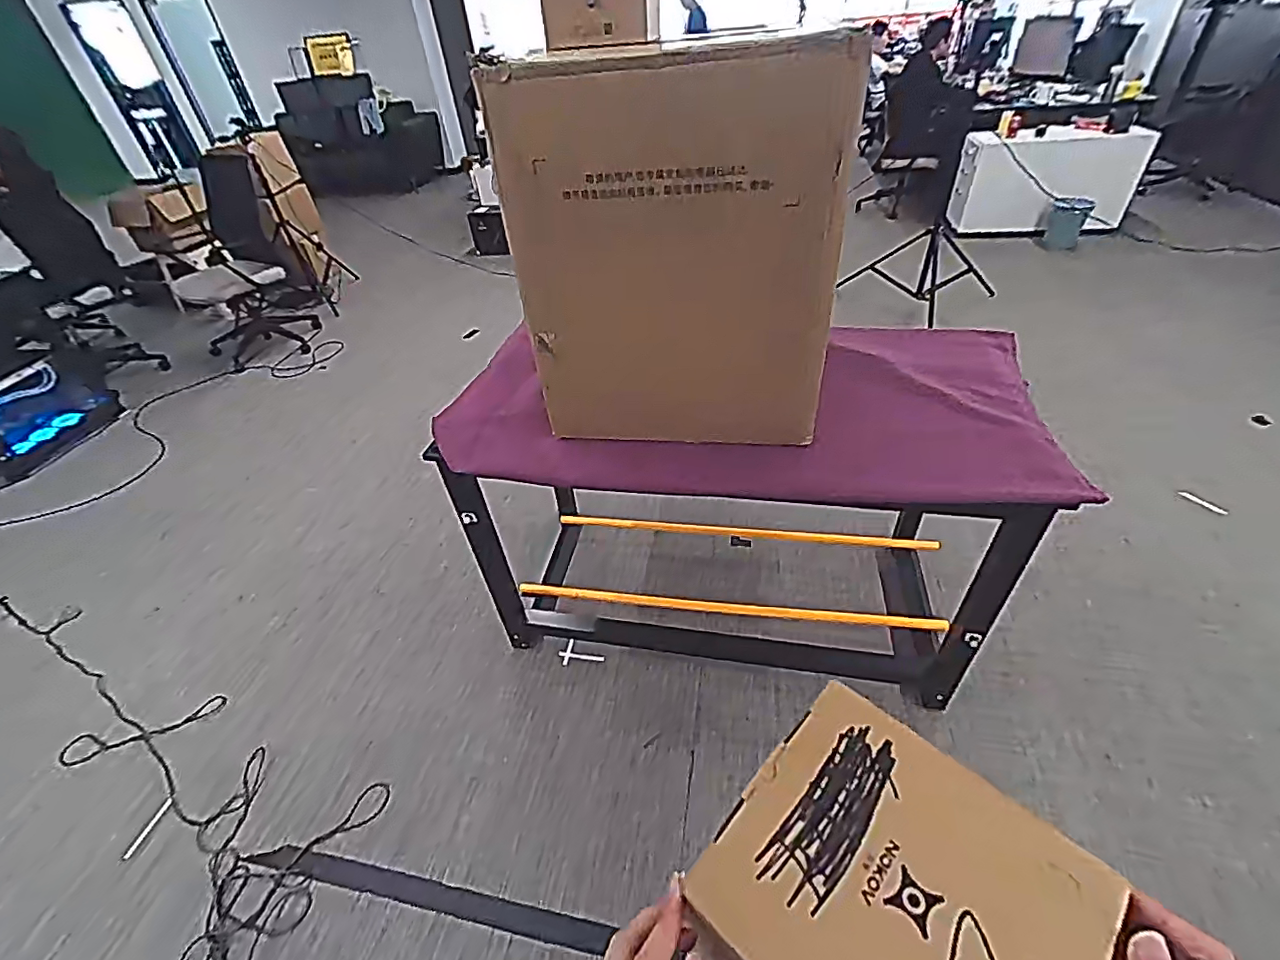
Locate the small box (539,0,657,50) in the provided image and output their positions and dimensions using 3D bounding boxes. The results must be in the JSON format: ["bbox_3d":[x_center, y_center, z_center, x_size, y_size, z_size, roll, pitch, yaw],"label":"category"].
[{"bbox_3d":[-0.066,-0.789,0.849,0.168,0.176,0.179,3,41,10],"label":"small box"}]
